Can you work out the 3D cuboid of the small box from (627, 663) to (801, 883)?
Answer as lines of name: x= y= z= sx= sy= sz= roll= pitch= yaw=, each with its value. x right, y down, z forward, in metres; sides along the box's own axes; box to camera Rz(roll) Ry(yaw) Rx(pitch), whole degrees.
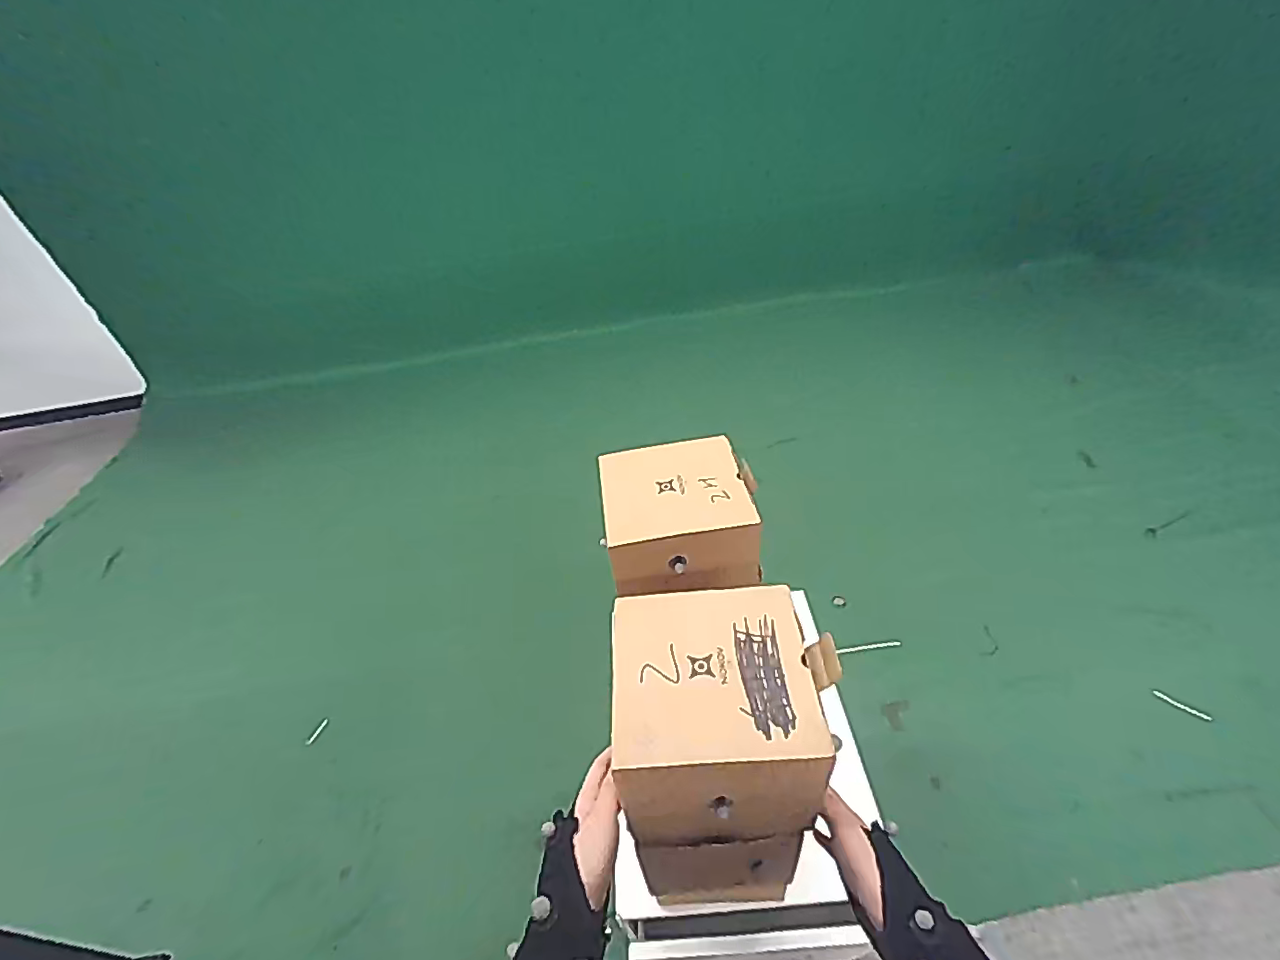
small box: x=0.077 y=0.340 z=0.624 sx=0.168 sy=0.176 sz=0.179 roll=-6 pitch=40 yaw=1

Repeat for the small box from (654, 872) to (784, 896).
small box: x=0.100 y=0.450 z=0.742 sx=0.179 sy=0.176 sz=0.168 roll=-4 pitch=40 yaw=4

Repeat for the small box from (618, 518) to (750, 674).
small box: x=0.067 y=0.178 z=0.812 sx=0.179 sy=0.176 sz=0.168 roll=-4 pitch=41 yaw=4
